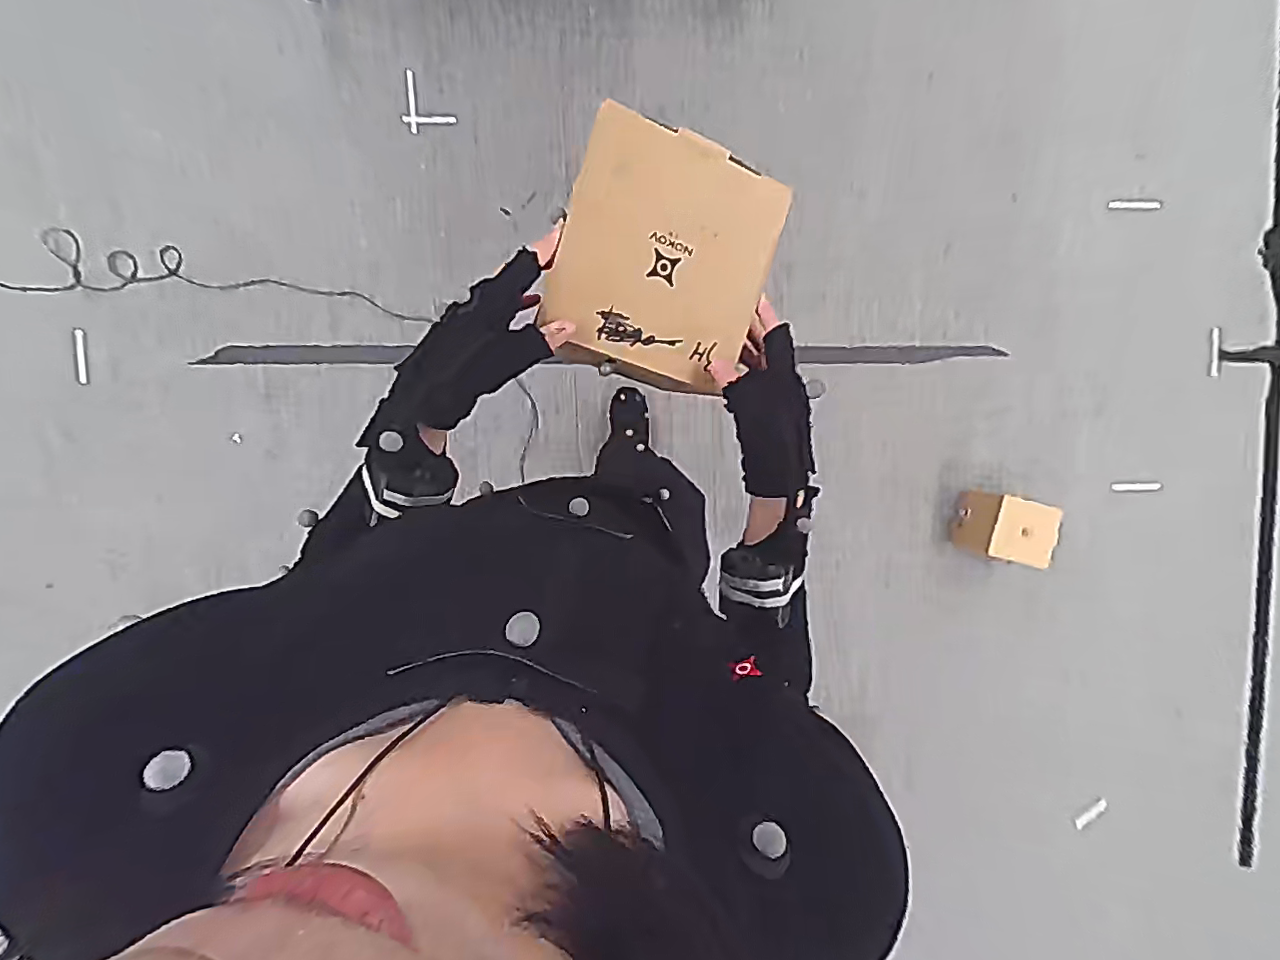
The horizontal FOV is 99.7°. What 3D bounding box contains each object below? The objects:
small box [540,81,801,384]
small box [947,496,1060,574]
[{"bbox_3d":[0.011,-0.196,0.491,0.168,0.176,0.179,16,95,-15],"label":"small box"},{"bbox_3d":[0.997,0.145,1.496,0.179,0.176,0.168,14,92,-3],"label":"small box"}]
